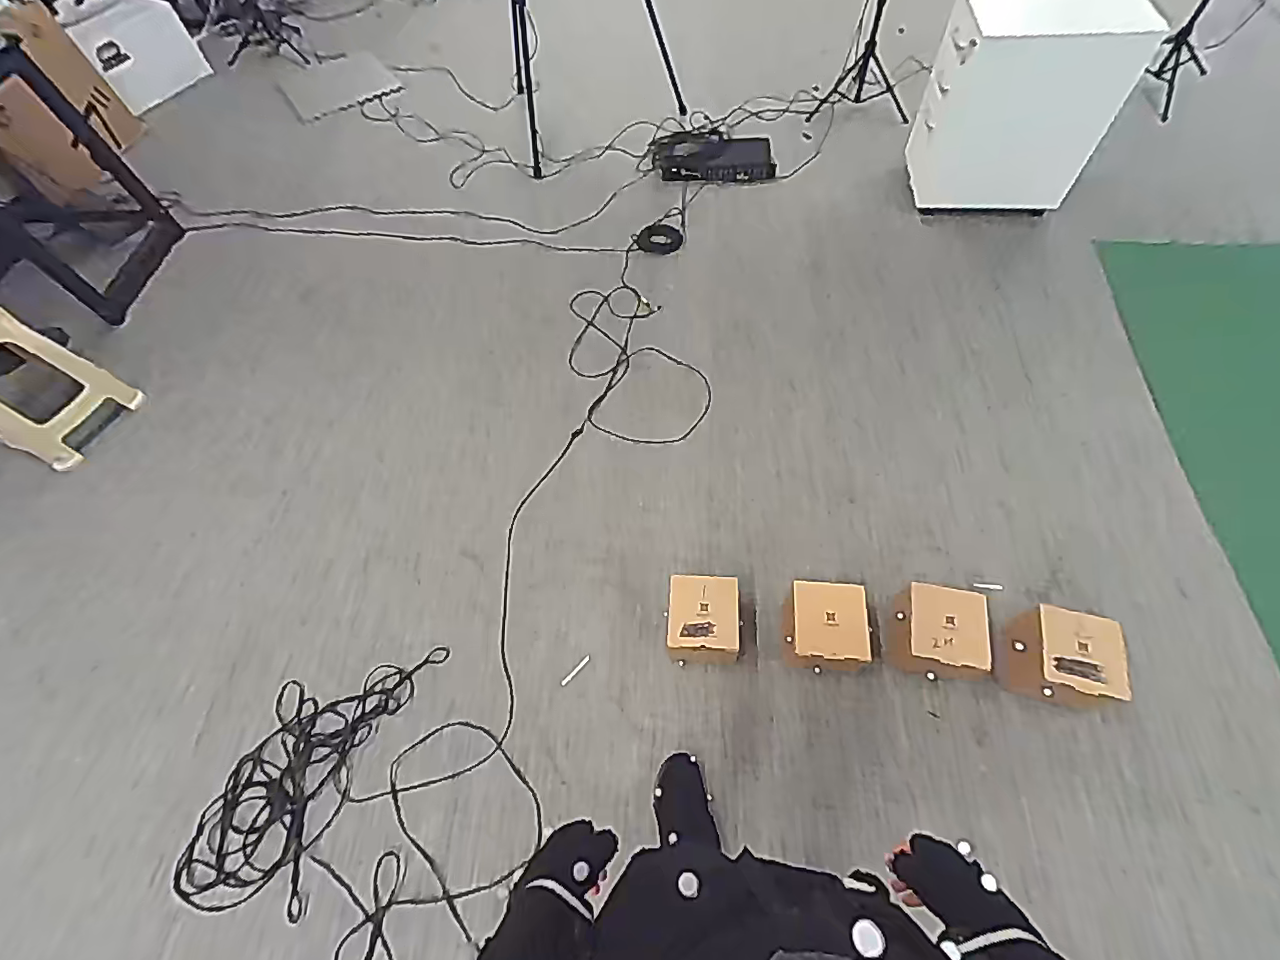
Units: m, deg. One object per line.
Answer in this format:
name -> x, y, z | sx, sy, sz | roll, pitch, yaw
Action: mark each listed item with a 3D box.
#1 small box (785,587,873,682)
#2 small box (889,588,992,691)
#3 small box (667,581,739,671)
small box -> 0.446, 0.376, 1.306 | 0.168, 0.176, 0.179 | 3, 60, 7
small box -> 0.701, 0.380, 1.279 | 0.168, 0.176, 0.179 | 10, 62, 11
small box -> 0.157, 0.365, 1.336 | 0.168, 0.176, 0.179 | 2, 59, 6
